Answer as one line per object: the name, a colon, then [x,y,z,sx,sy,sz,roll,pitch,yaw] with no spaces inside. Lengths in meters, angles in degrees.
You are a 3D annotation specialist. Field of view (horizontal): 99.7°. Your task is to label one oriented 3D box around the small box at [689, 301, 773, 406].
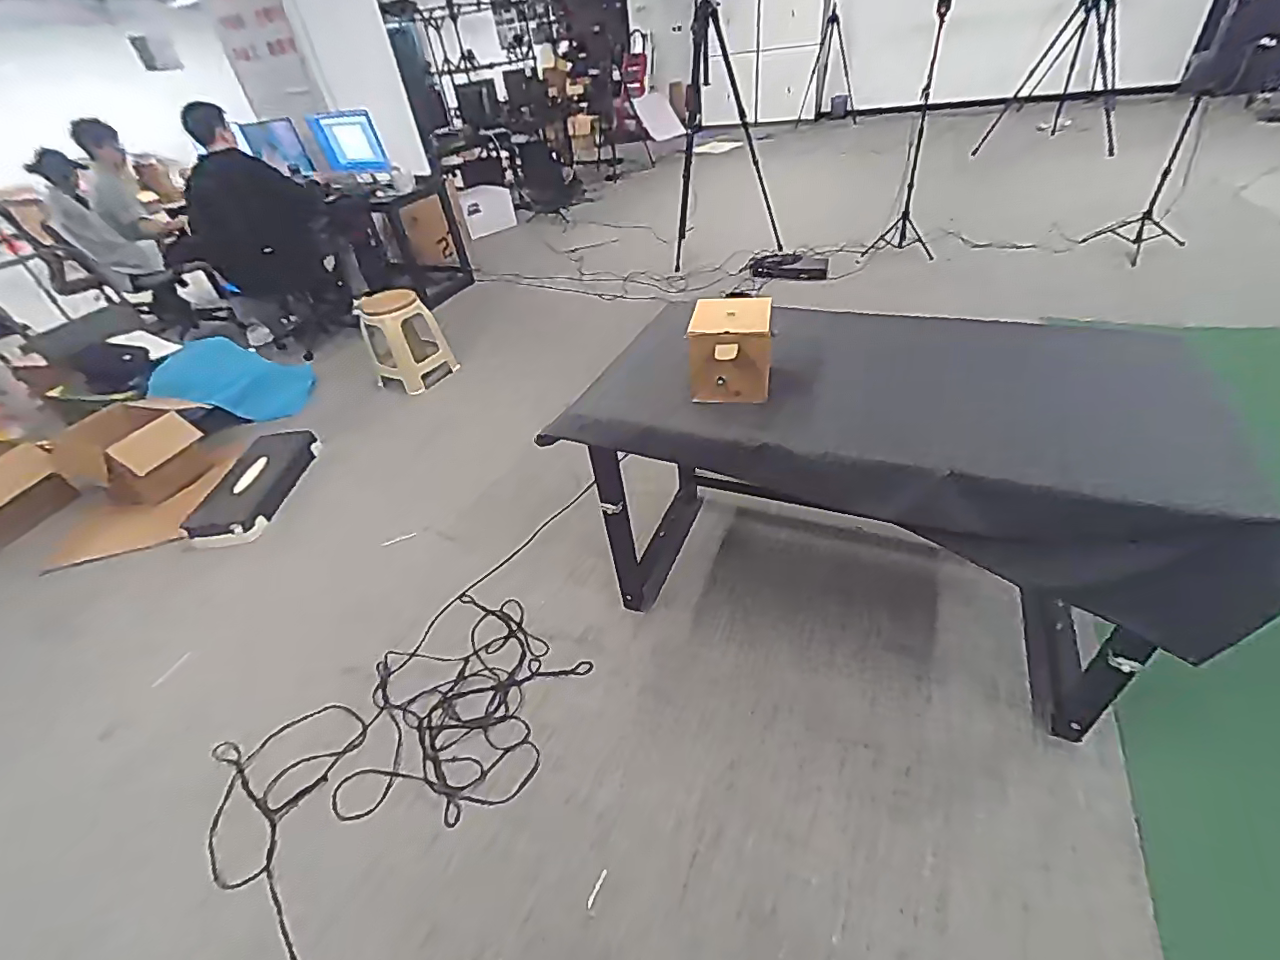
small box: [0.202,-0.282,1.196,0.168,0.176,0.179,3,41,13]
